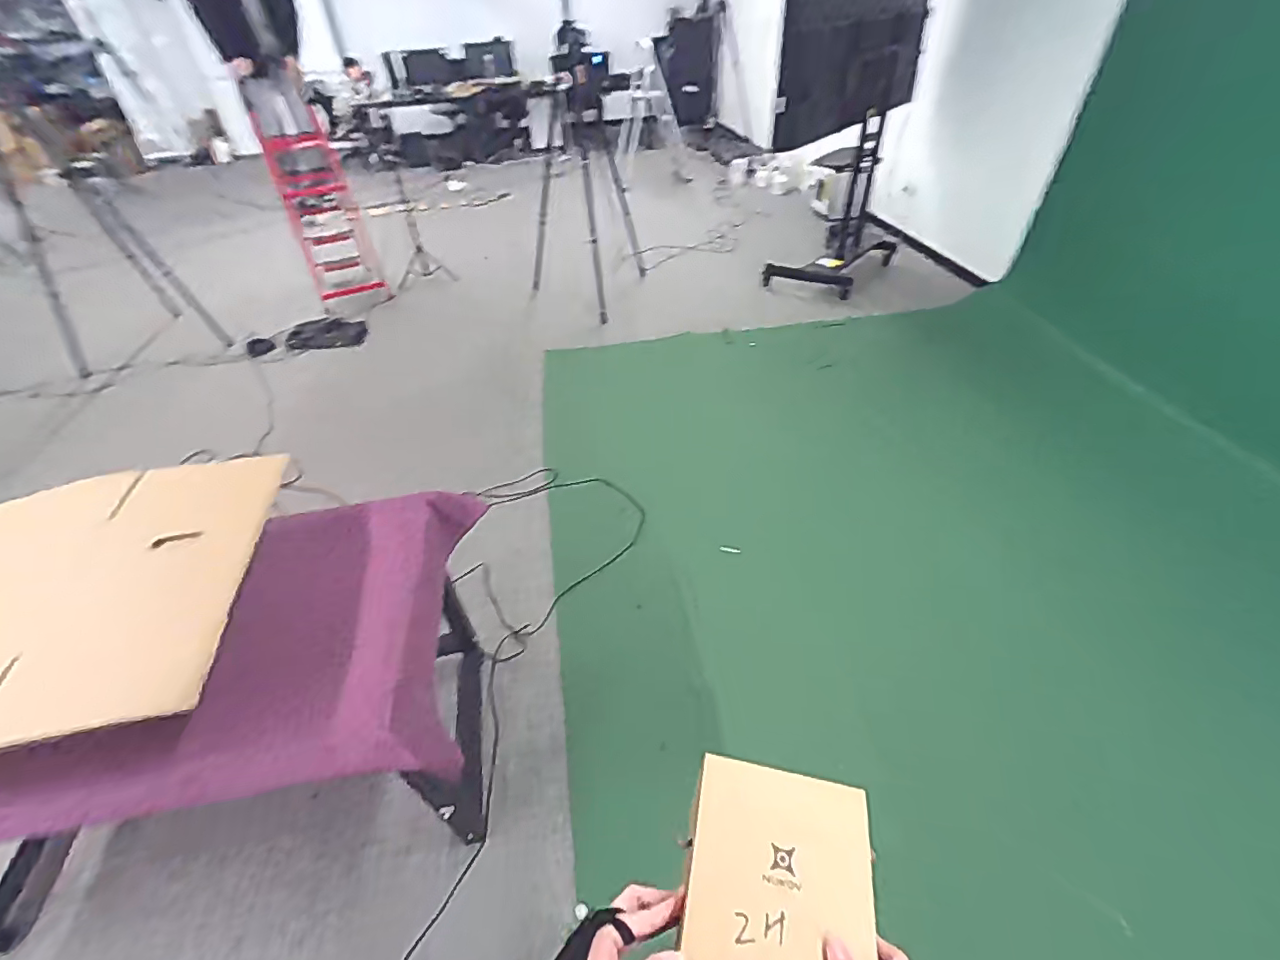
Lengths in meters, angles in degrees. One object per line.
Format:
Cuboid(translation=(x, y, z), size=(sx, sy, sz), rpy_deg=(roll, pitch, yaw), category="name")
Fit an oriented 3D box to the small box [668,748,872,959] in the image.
Cuboid(translation=(0.124, 0.410, 0.554), size=(0.168, 0.176, 0.179), rpy_deg=(9, 46, 8), category="small box")
